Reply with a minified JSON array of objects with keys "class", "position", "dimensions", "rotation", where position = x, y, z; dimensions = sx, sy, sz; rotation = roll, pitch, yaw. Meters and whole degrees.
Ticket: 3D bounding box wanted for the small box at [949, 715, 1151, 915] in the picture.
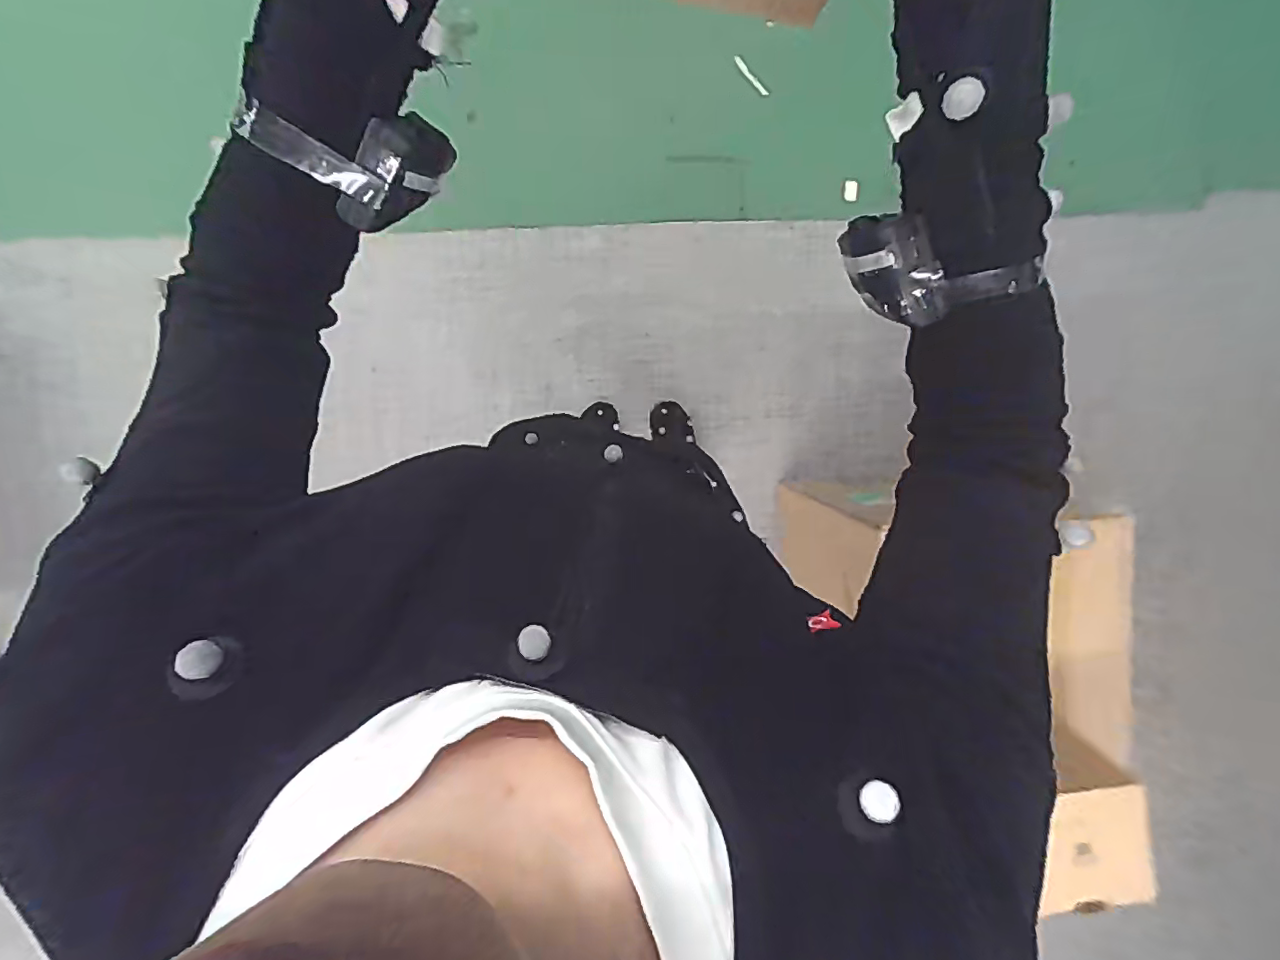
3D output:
[{"class":"small box","position":[0.583,0.478,0.790],"dimensions":[0.168,0.176,0.179],"rotation":[-11,95,4]}]
